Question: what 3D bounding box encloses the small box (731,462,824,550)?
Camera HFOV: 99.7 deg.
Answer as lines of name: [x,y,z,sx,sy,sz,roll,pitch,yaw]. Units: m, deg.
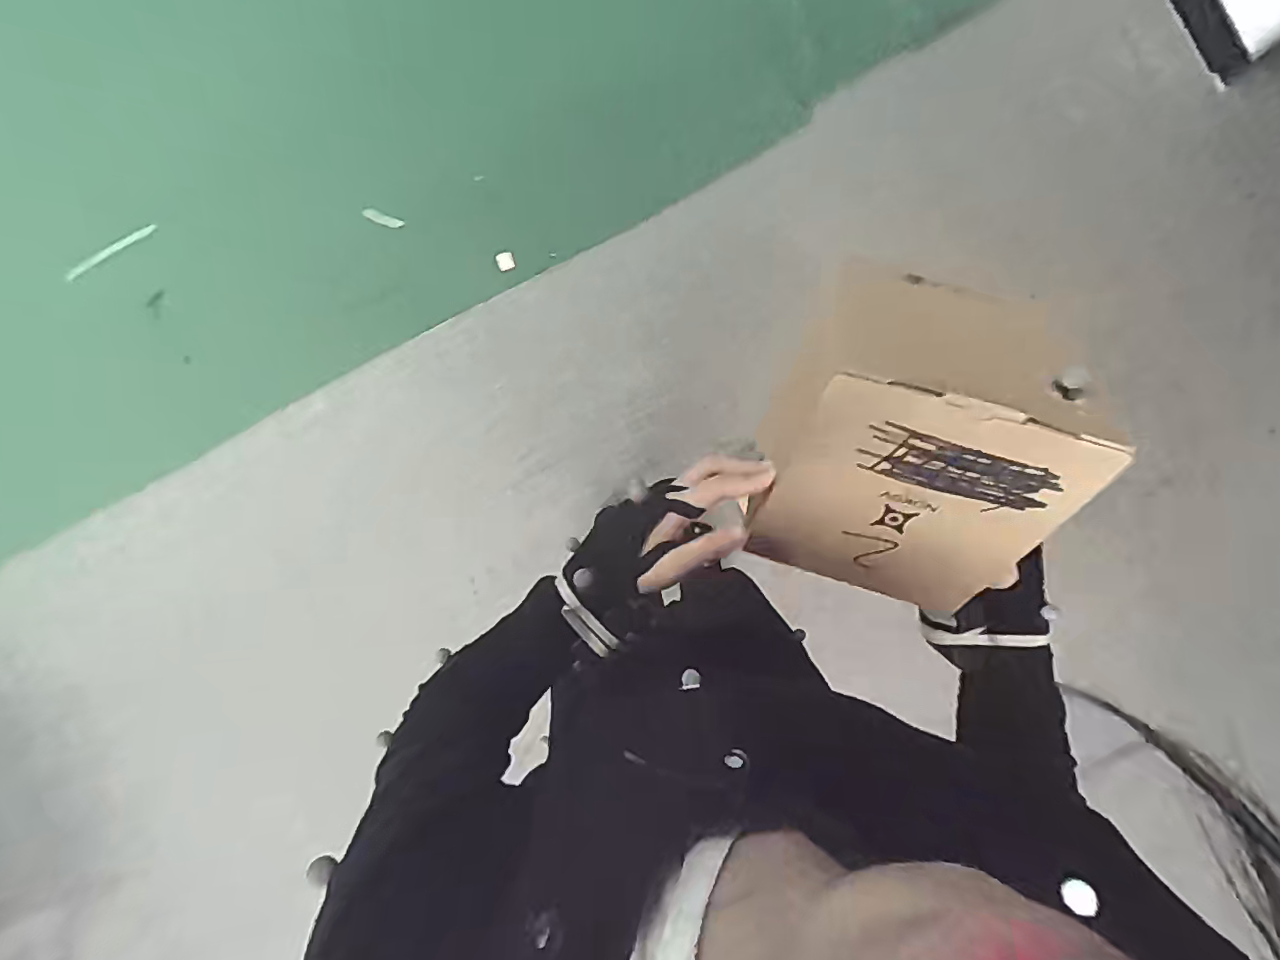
small box: [0.343,0.063,1.391,0.179,0.176,0.168,-25,90,4]
